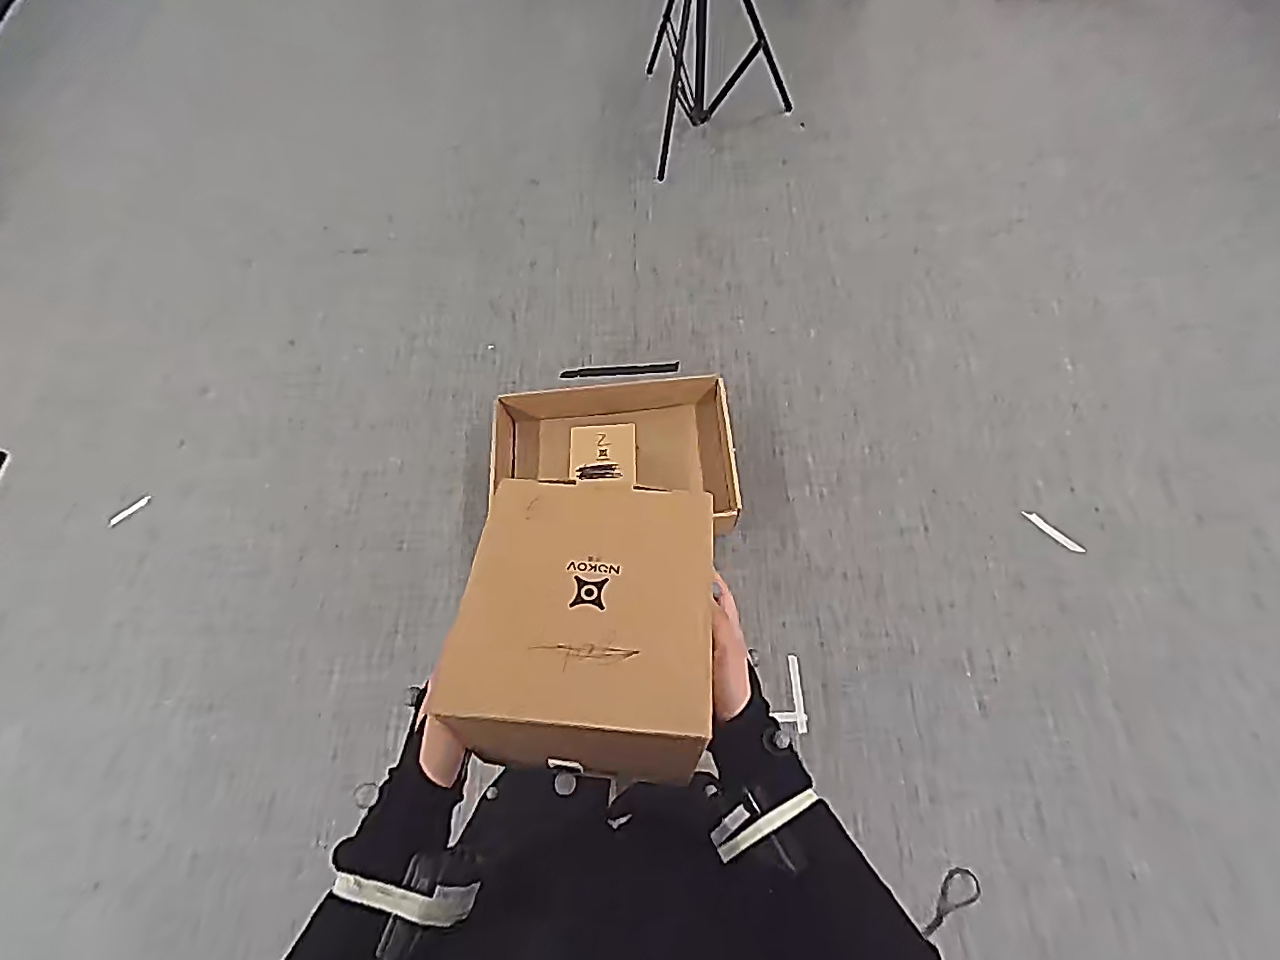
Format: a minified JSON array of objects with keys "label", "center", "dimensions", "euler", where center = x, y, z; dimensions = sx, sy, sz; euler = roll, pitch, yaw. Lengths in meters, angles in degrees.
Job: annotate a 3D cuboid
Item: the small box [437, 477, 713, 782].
[{"label":"small box","center":[-0.036,0.121,0.431],"dimensions":[0.168,0.176,0.179],"euler":[5,53,3]}]
